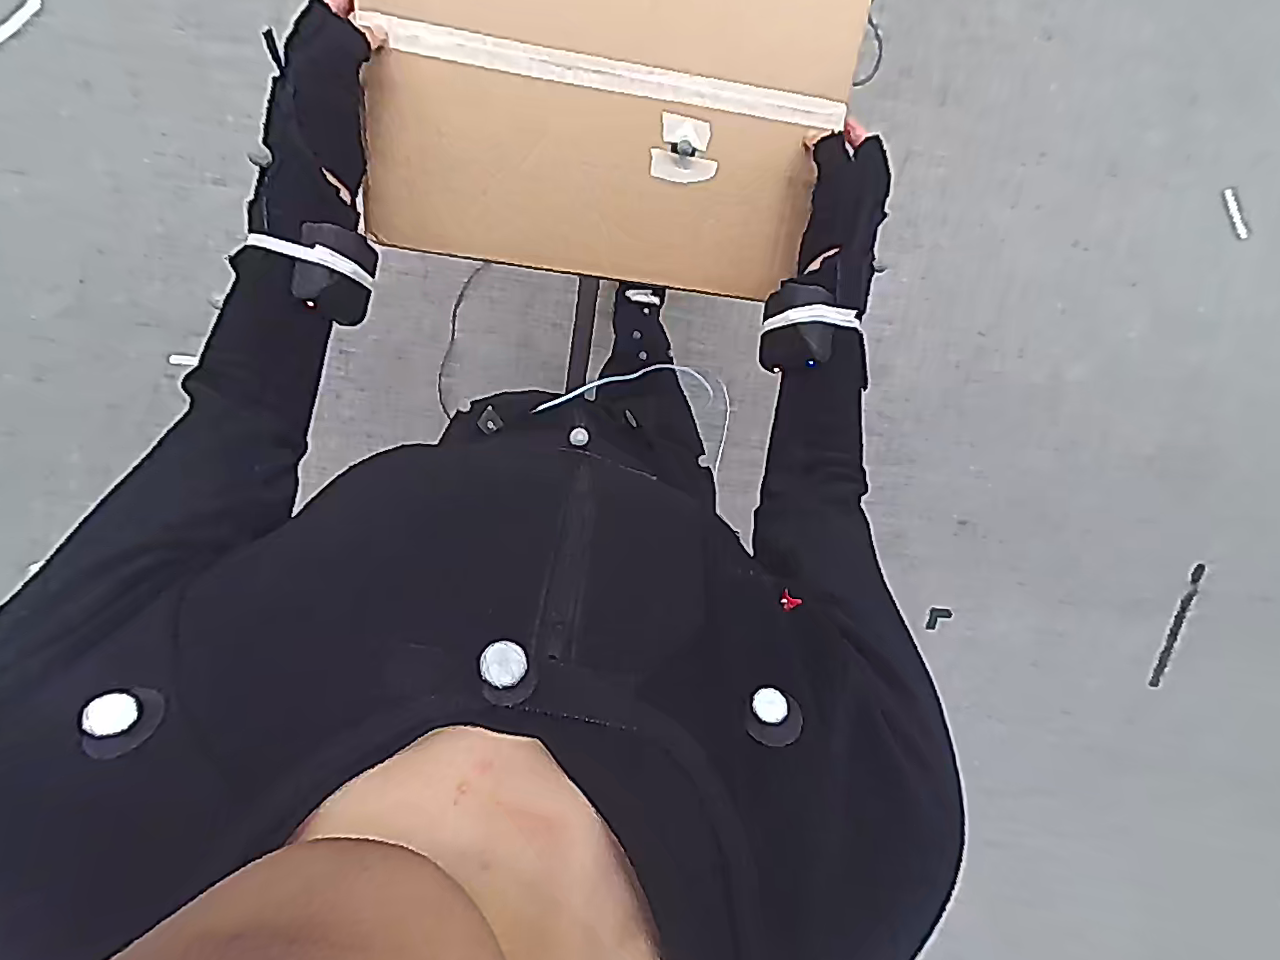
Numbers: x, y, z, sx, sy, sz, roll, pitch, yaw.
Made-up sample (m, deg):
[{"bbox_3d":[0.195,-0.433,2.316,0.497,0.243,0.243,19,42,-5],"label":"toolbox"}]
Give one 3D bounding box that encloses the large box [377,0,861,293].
[{"bbox_3d":[-0.034,-0.397,0.602,0.408,0.320,0.320,6,111,-8],"label":"large box"}]
